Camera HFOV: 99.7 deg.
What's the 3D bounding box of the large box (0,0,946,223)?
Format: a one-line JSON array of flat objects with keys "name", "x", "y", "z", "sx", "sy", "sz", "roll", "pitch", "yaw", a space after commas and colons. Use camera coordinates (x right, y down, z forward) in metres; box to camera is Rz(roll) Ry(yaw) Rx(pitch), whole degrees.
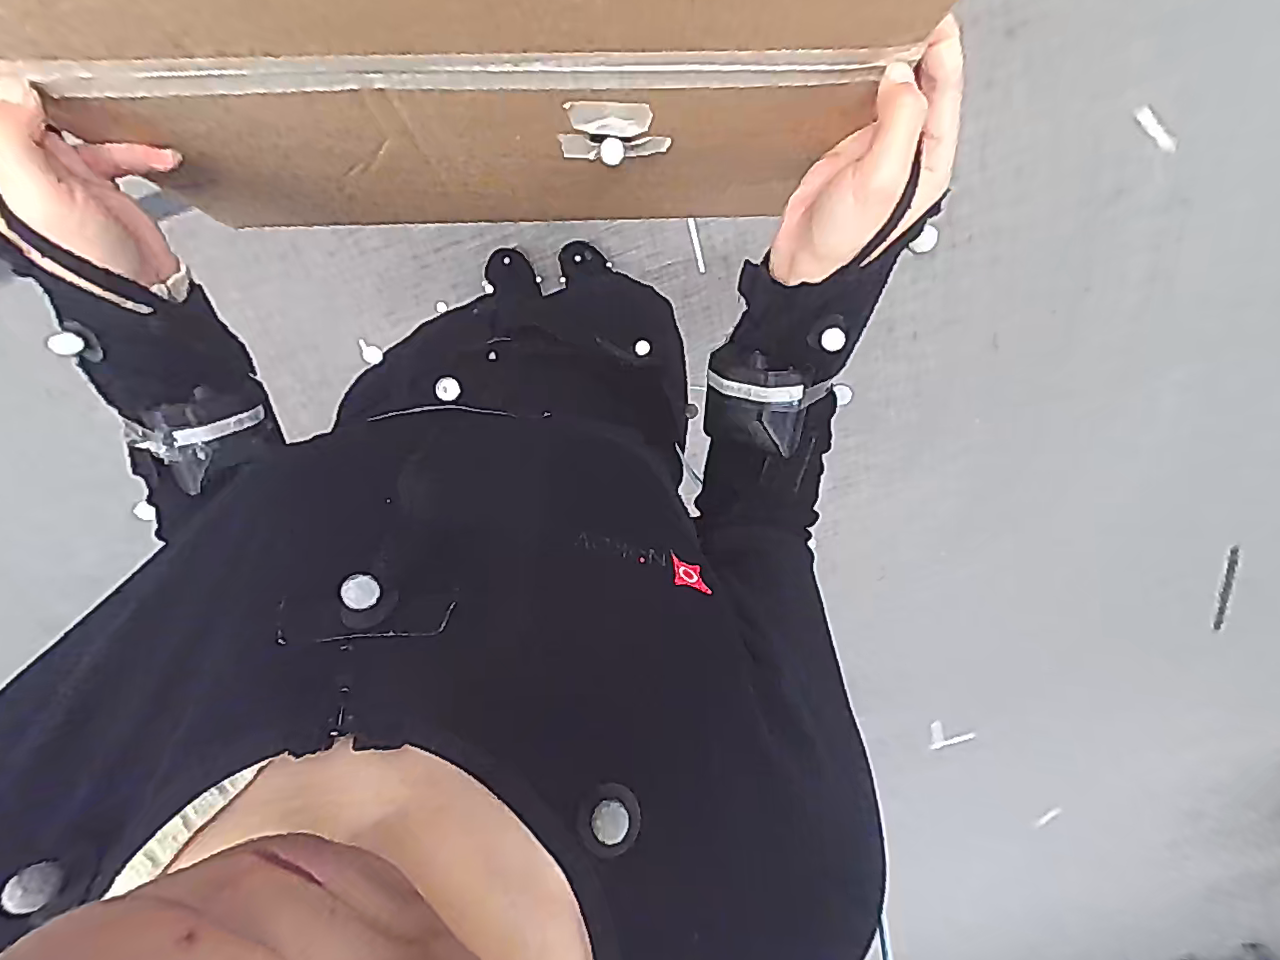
[{"name": "large box", "x": -0.085, "y": -0.335, "z": 0.232, "sx": 0.408, "sy": 0.320, "sz": 0.320, "roll": -2, "pitch": 93, "yaw": -2}]
